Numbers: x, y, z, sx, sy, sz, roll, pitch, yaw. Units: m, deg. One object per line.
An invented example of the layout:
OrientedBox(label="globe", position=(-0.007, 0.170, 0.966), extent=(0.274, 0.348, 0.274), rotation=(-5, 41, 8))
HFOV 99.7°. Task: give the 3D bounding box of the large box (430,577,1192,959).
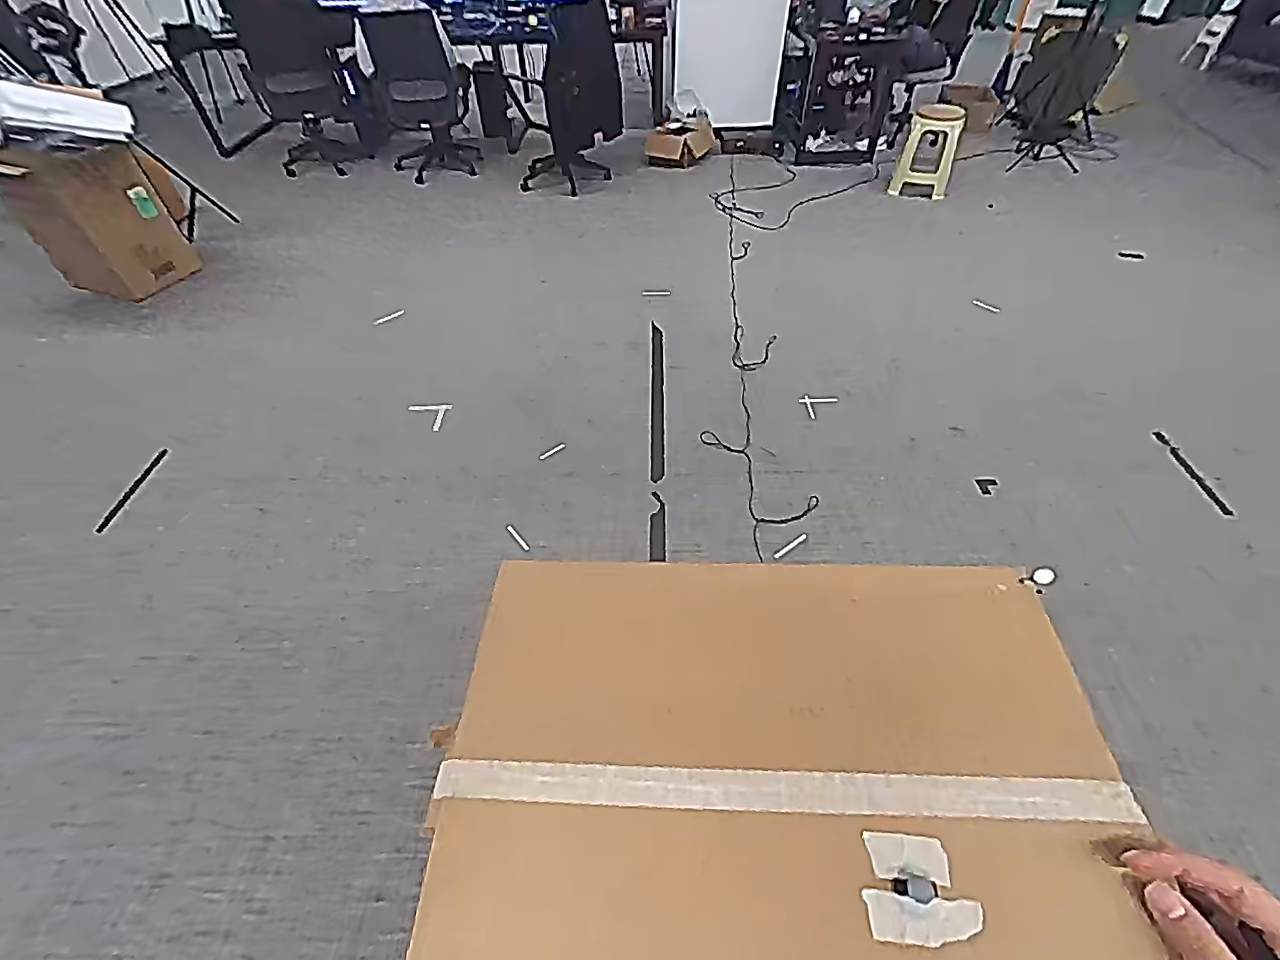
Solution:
OrientedBox(label="large box", position=(0.091, 0.290, 0.443), extent=(0.408, 0.320, 0.320), rotation=(0, 51, 3))
